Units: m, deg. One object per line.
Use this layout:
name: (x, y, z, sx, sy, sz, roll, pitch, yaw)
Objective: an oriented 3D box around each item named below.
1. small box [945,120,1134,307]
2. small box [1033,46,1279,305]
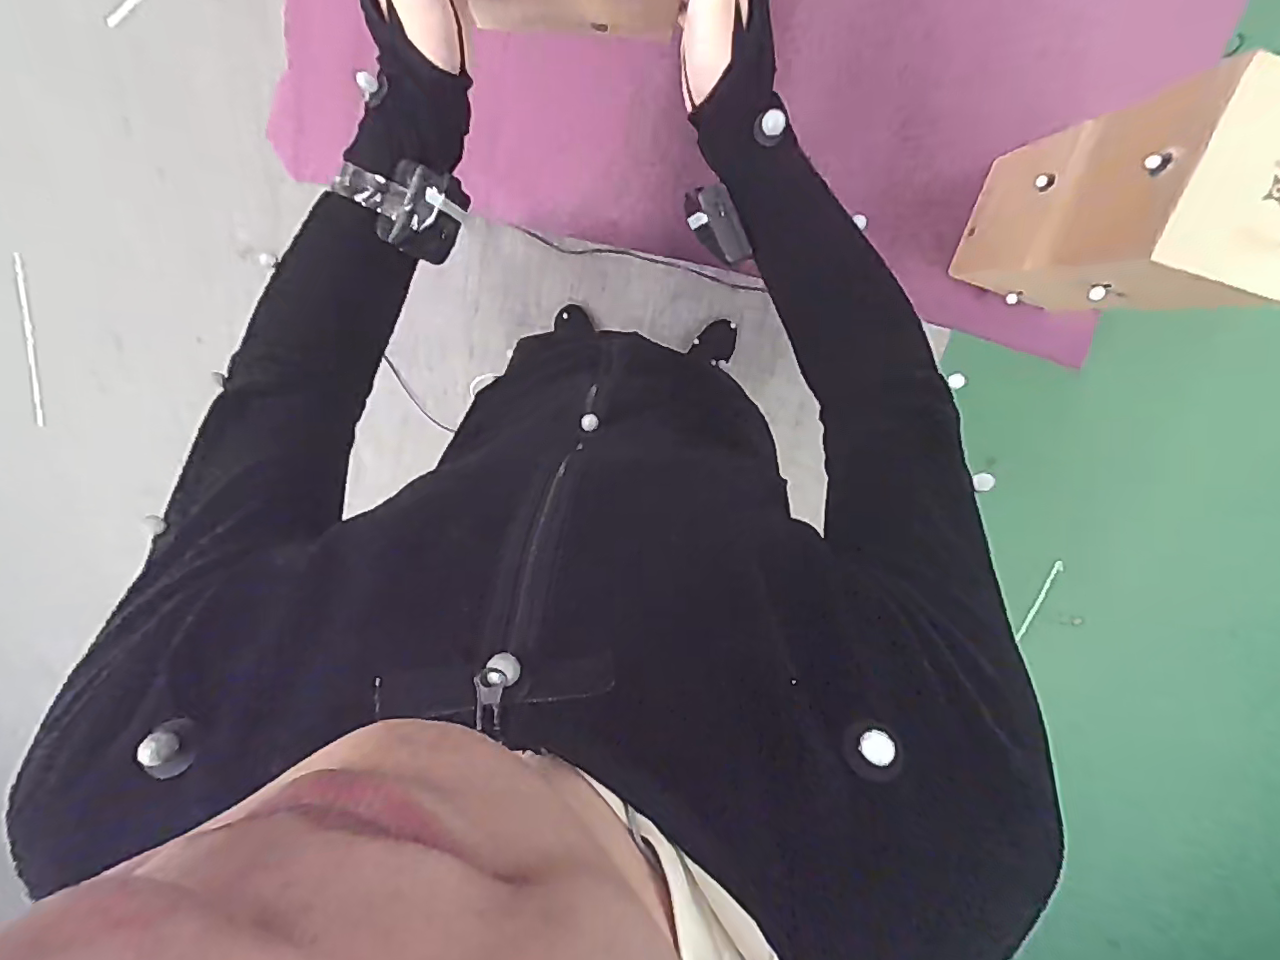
small box: (0.561, -0.339, 0.723, 0.179, 0.176, 0.168, 15, 106, -6)
small box: (0.569, -0.293, 0.566, 0.168, 0.176, 0.179, 15, 107, -4)
